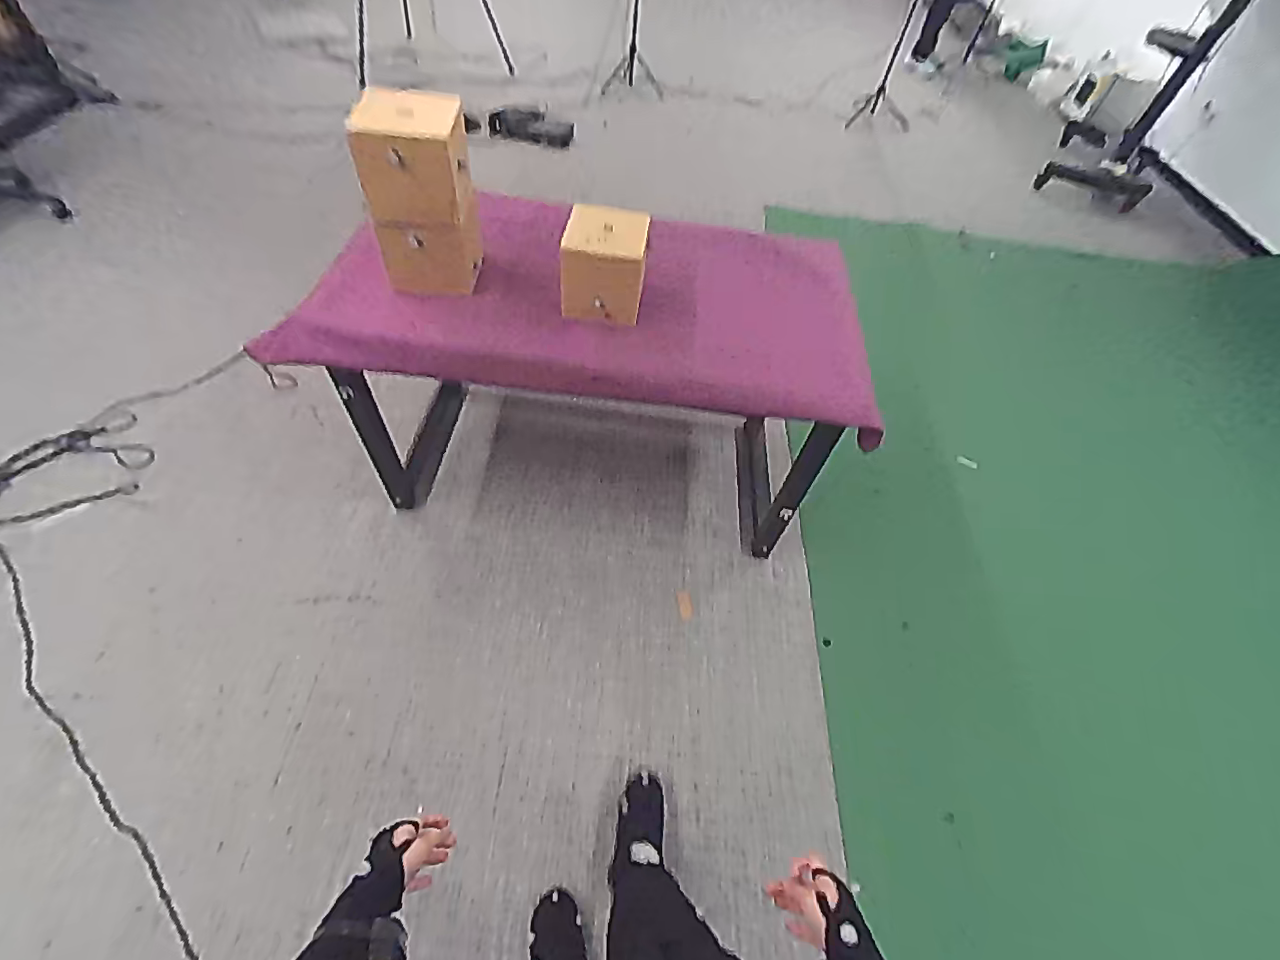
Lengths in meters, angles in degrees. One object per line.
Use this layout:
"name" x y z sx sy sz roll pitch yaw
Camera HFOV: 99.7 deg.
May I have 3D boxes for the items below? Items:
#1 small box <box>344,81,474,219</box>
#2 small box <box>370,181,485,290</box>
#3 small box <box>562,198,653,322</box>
"small box" -0.424 -0.621 1.029 0.179 0.176 0.168 2 56 -5
"small box" -0.445 -0.532 1.163 0.179 0.176 0.168 4 55 -5
"small box" -0.072 -0.473 1.167 0.168 0.176 0.179 9 54 0
